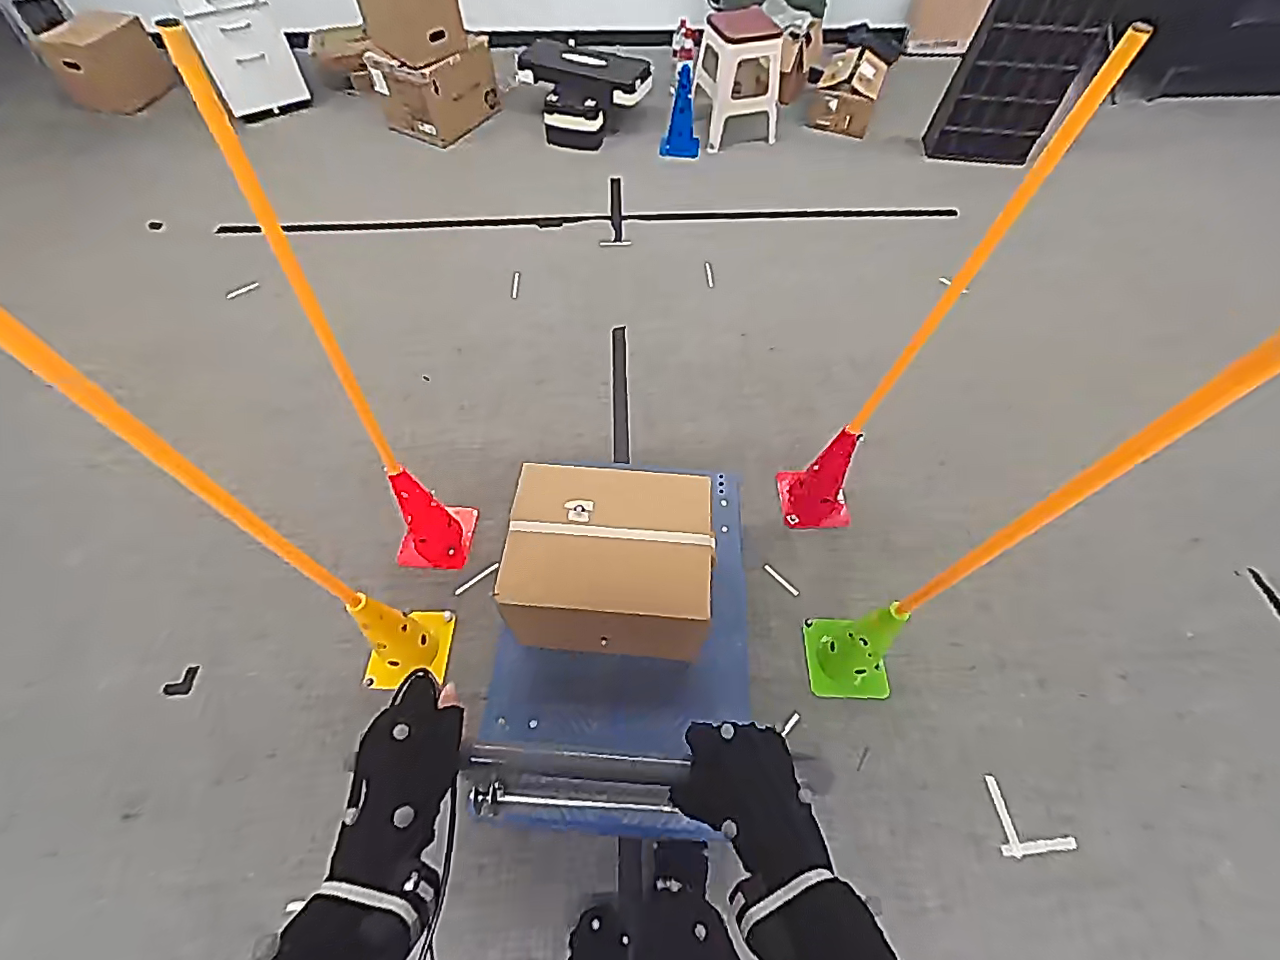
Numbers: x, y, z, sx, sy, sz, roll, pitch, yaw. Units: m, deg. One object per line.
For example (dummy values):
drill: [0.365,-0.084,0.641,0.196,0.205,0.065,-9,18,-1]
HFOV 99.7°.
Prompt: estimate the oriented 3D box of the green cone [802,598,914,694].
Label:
green cone: [0.540,0.365,1.277,0.202,0.368,0.200,2,58,-1]

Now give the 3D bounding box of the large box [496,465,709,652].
large box: [-0.061,0.186,1.207,0.408,0.320,0.320,4,58,2]

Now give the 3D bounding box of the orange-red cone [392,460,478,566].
orange-red cone: [-0.586,0.061,1.449,0.198,0.360,0.199,5,56,1]

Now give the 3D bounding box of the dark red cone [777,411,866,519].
dark red cone: [0.539,-0.054,1.522,0.201,0.394,0.202,-1,58,-4]
